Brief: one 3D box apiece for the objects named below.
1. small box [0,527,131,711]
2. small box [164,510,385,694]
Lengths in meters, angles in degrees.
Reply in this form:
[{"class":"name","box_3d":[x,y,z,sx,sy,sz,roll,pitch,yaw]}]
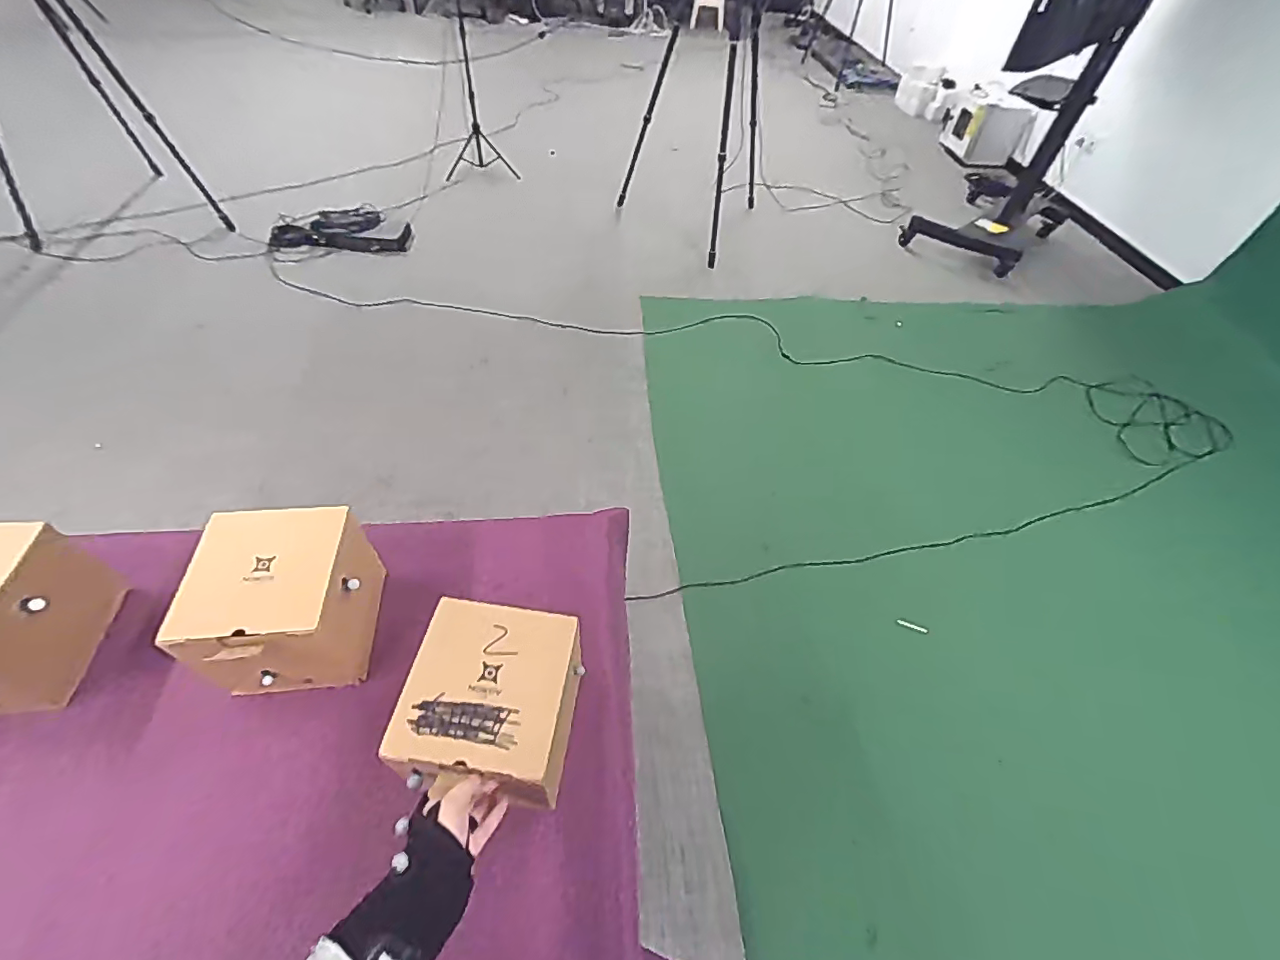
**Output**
[{"class":"small box","box_3d":[-0.797,0.177,0.665,0.168,0.176,0.179,-1,51,-7]},{"class":"small box","box_3d":[-0.451,0.159,0.708,0.168,0.176,0.179,-3,52,-7]}]
